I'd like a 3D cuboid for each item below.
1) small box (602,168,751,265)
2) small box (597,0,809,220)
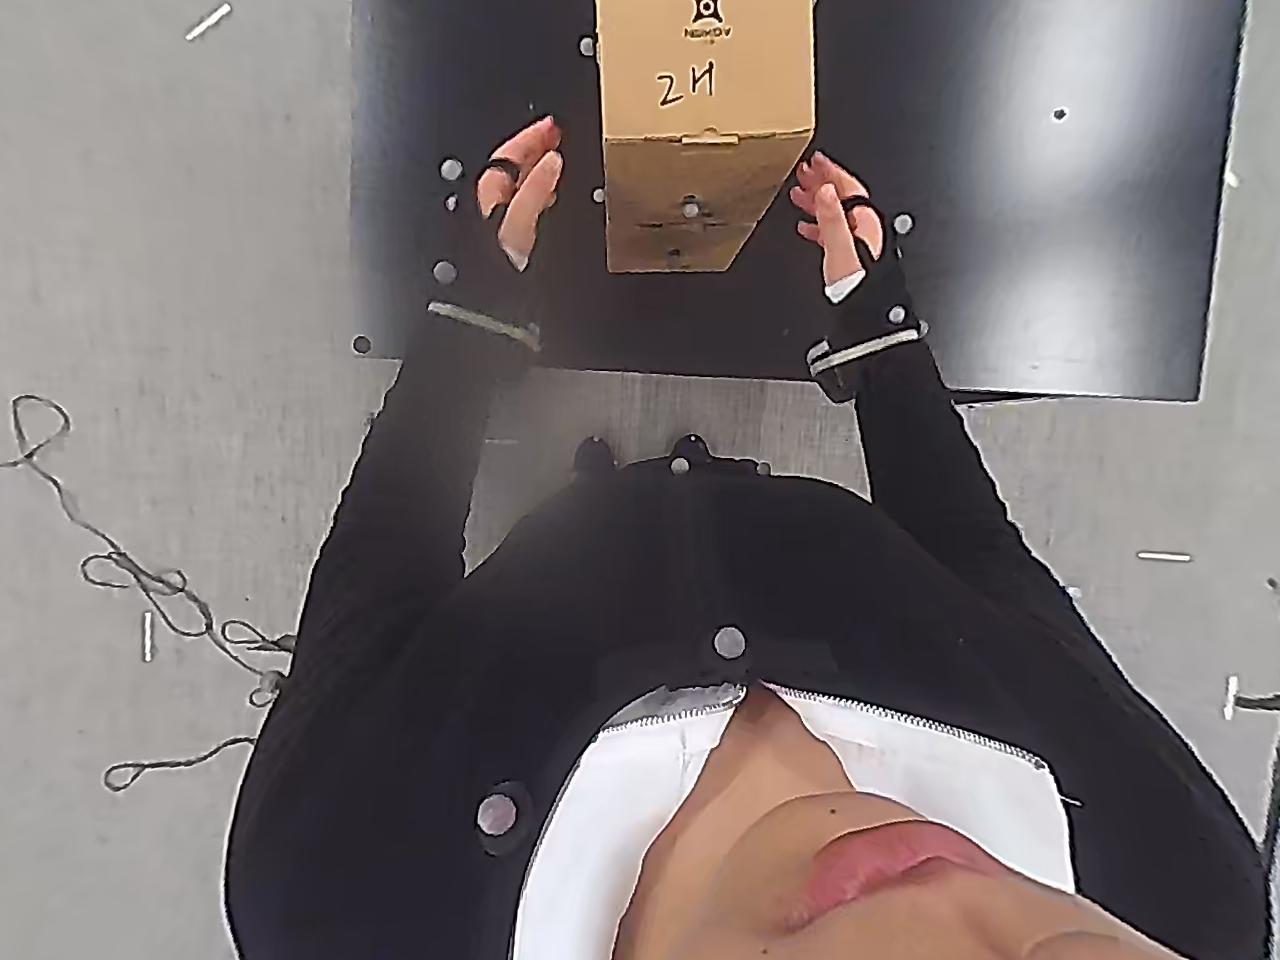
[{"bbox_3d":[0.039,-0.372,0.661,0.168,0.176,0.179,-1,95,-2],"label":"small box"},{"bbox_3d":[0.045,-0.363,0.495,0.168,0.176,0.179,-3,94,-1],"label":"small box"}]
